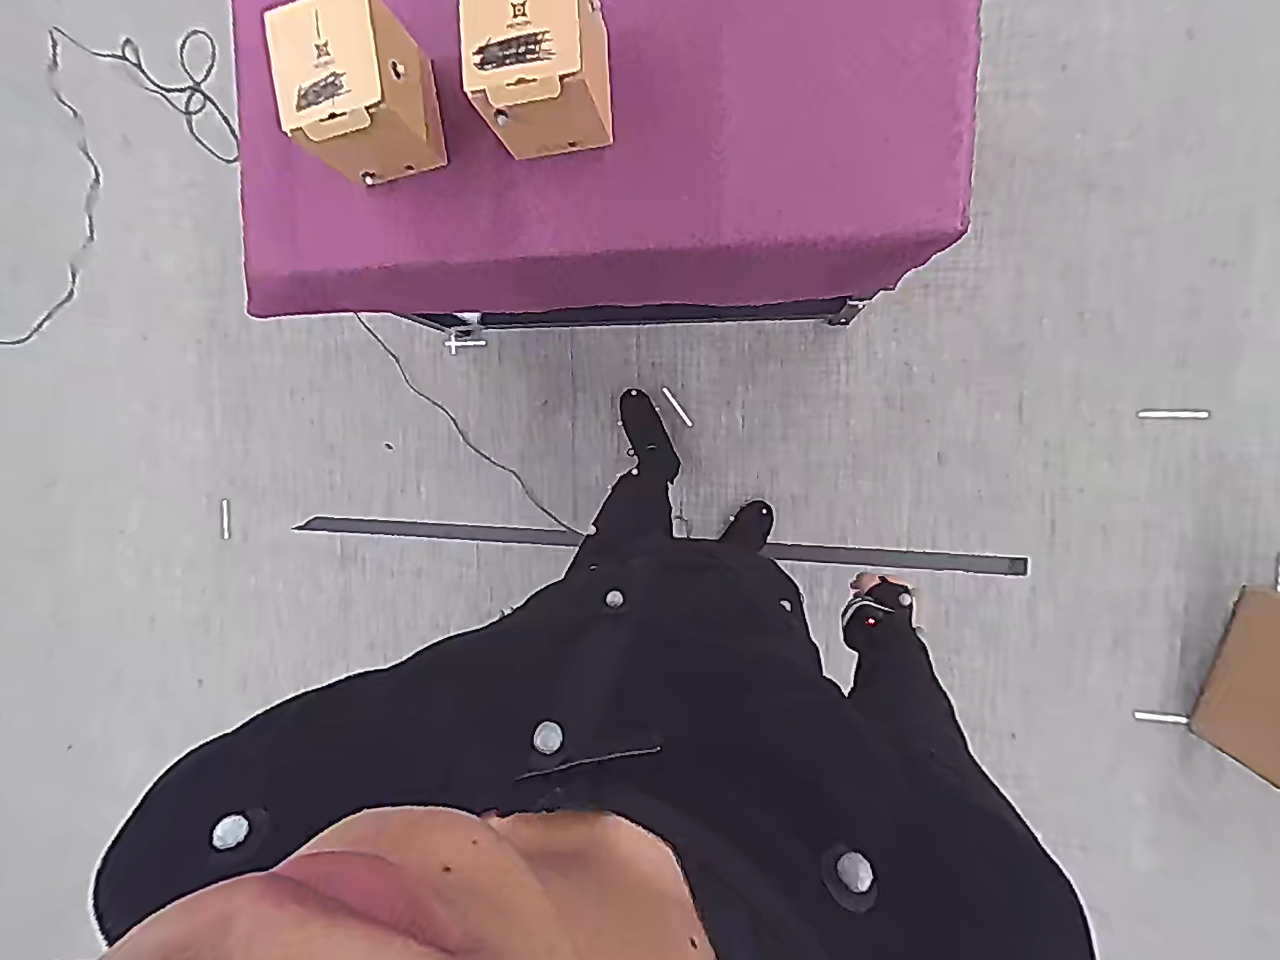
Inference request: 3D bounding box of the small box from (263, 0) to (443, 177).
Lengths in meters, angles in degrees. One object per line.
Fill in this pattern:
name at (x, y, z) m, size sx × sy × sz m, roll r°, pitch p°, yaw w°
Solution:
small box at (-0.426, -0.596, 0.830) m, size 0.168 × 0.176 × 0.179 m, roll -9°, pitch 92°, yaw 10°
